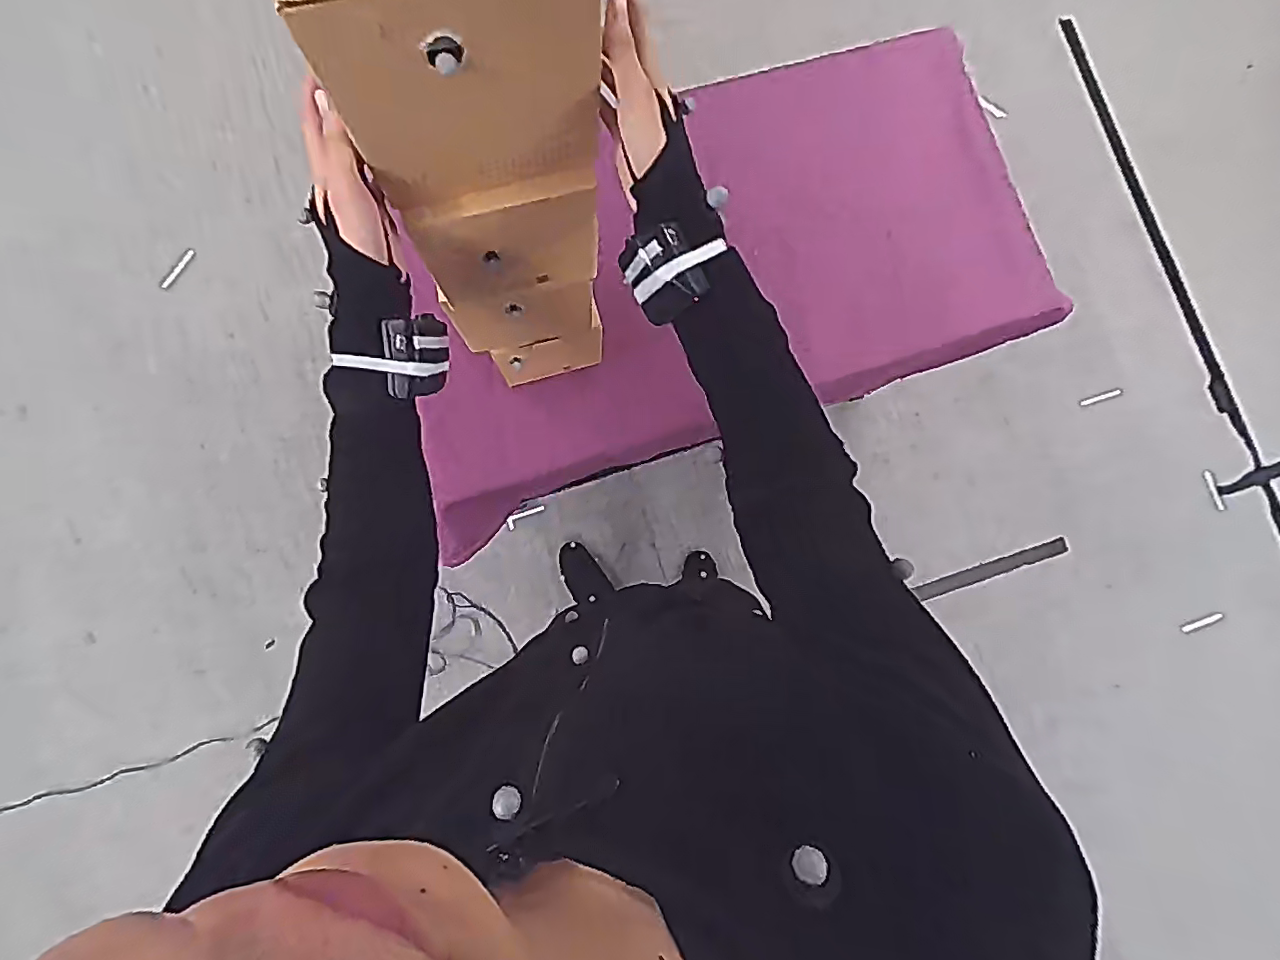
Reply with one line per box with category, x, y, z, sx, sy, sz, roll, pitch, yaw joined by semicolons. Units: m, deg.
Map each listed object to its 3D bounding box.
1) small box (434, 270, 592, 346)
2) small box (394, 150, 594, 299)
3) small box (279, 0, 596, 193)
small box;-0.160;-0.285;0.696;0.179;0.176;0.168;-10;85;-6
small box;-0.144;-0.300;0.535;0.168;0.176;0.179;-17;85;-7
small box;-0.133;-0.333;0.374;0.179;0.176;0.168;-17;85;-7
